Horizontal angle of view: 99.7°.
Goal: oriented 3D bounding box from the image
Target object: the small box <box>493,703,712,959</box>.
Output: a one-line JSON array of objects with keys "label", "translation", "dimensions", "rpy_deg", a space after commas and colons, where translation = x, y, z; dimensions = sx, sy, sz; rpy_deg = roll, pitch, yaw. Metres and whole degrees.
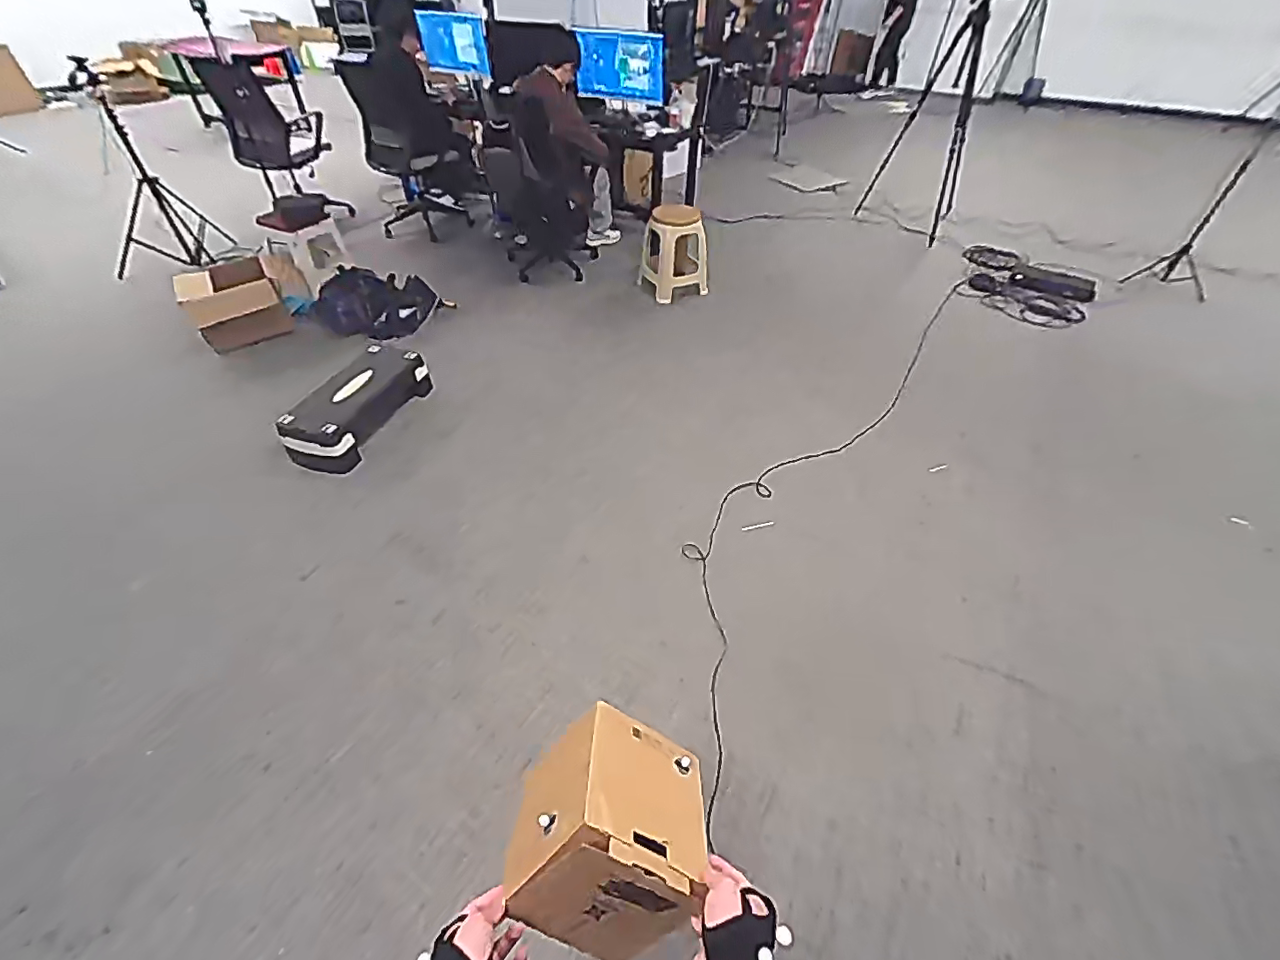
[{"label": "small box", "translation": [-0.041, 0.404, 0.636], "dimensions": [0.168, 0.179, 0.176], "rpy_deg": [36, 17, -12]}]
